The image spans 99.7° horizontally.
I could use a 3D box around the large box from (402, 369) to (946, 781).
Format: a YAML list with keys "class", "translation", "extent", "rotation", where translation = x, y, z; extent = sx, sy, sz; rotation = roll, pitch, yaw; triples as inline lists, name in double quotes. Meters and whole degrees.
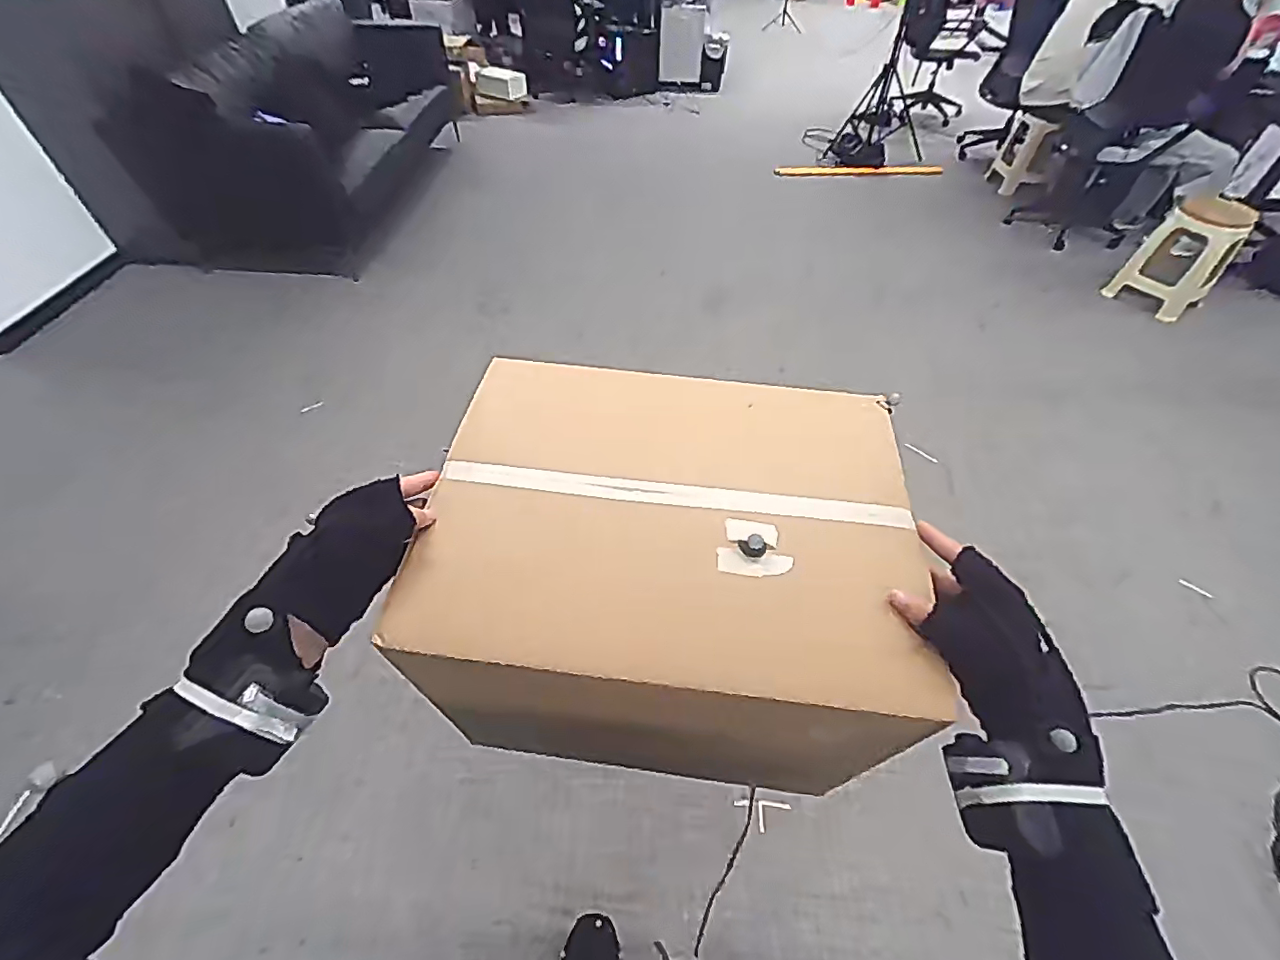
- class: "large box"
  translation: [0.029, 0.111, 0.594]
  extent: [0.408, 0.320, 0.320]
  rotation: [7, 53, 2]
